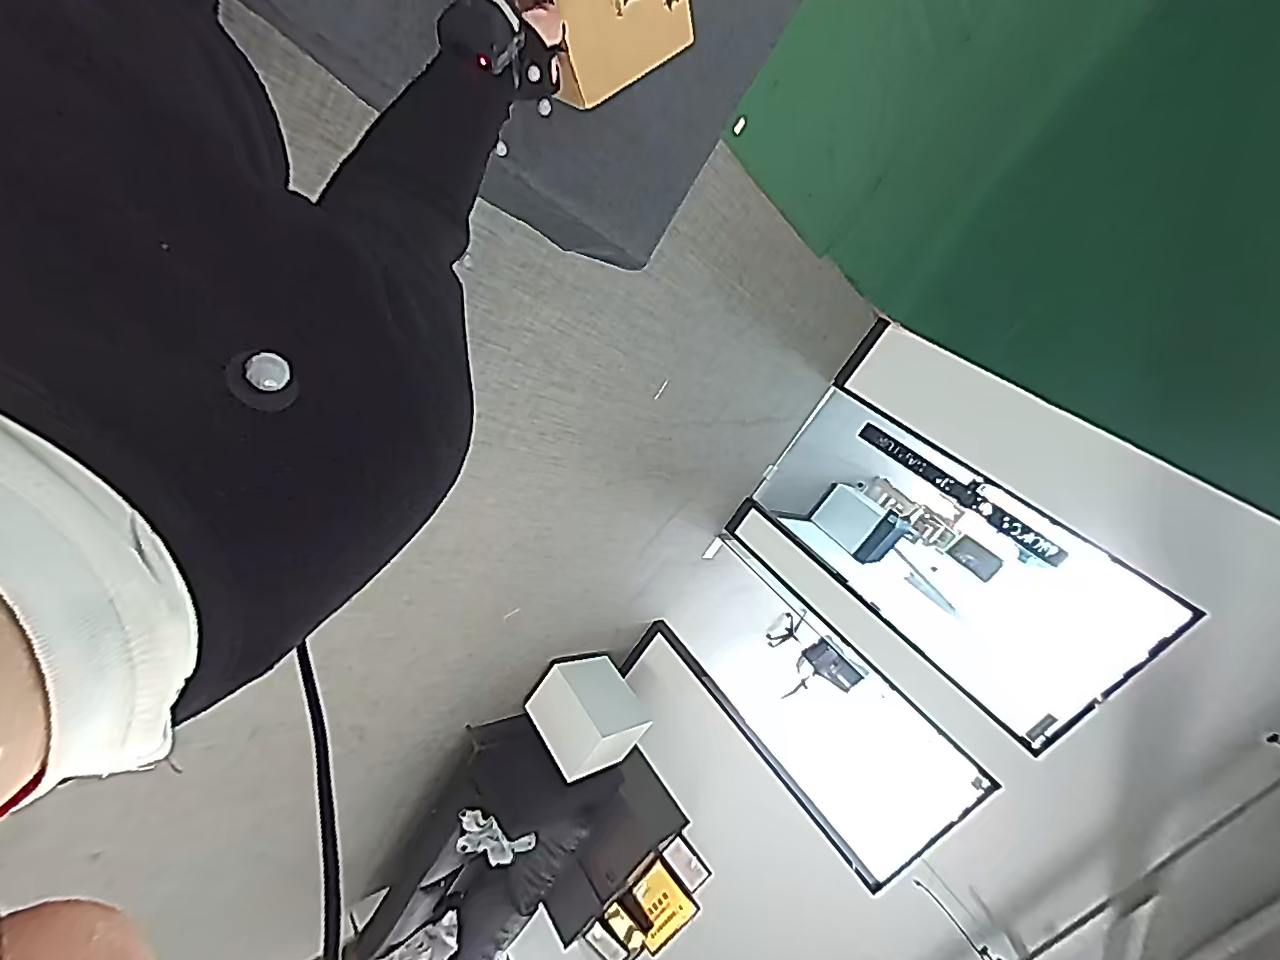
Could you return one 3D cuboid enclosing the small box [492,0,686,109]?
[{"bbox_3d":[-0.074,-0.585,0.645,0.179,0.176,0.168,-37,146,-10],"label":"small box"}]
